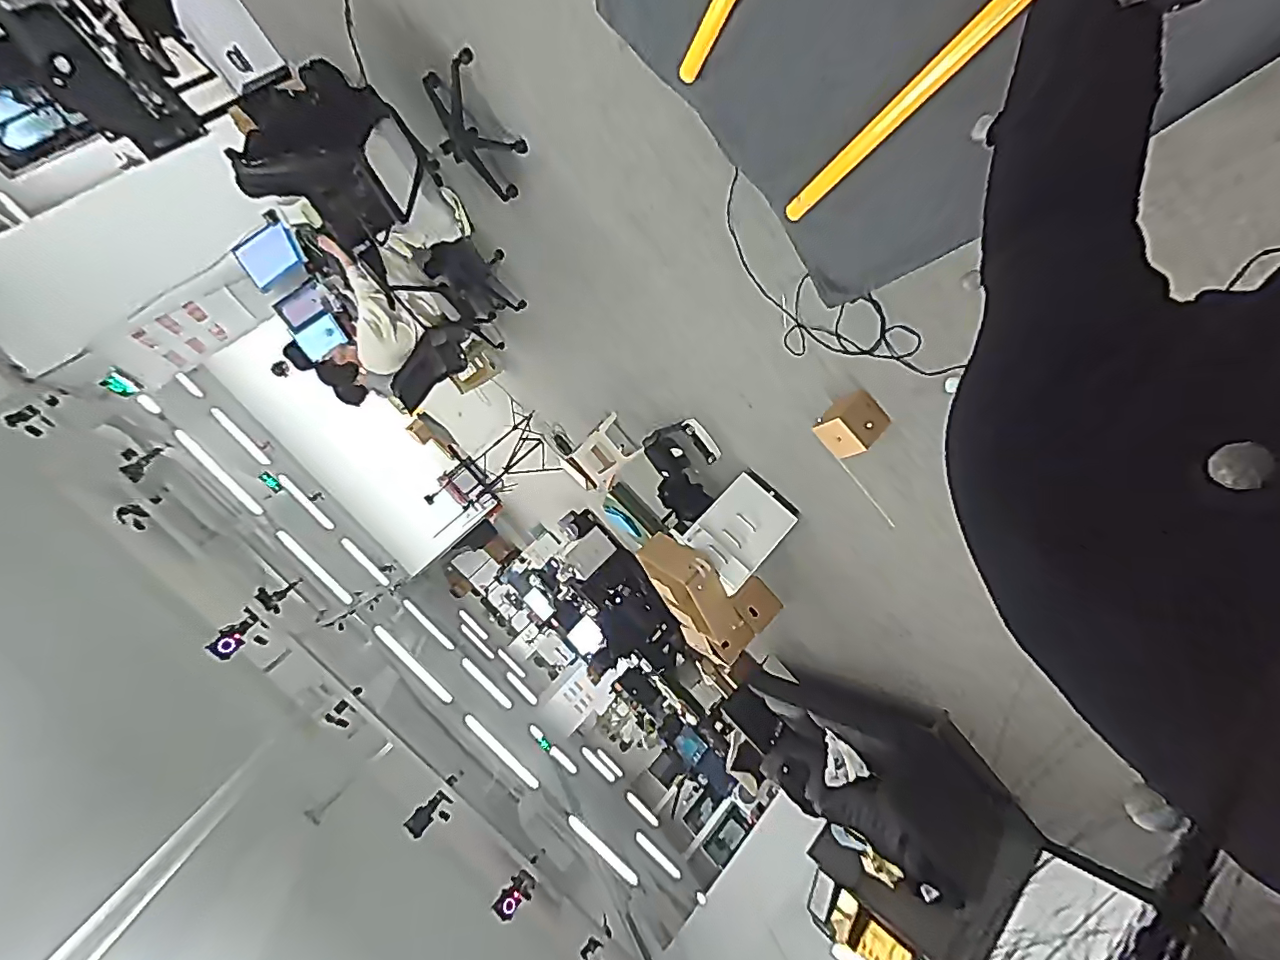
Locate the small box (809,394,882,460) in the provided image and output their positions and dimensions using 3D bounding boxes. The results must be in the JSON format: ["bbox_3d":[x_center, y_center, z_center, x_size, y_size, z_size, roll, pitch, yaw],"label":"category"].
[{"bbox_3d":[0.794,-0.205,2.071,0.168,0.176,0.179,47,161,-5],"label":"small box"}]
